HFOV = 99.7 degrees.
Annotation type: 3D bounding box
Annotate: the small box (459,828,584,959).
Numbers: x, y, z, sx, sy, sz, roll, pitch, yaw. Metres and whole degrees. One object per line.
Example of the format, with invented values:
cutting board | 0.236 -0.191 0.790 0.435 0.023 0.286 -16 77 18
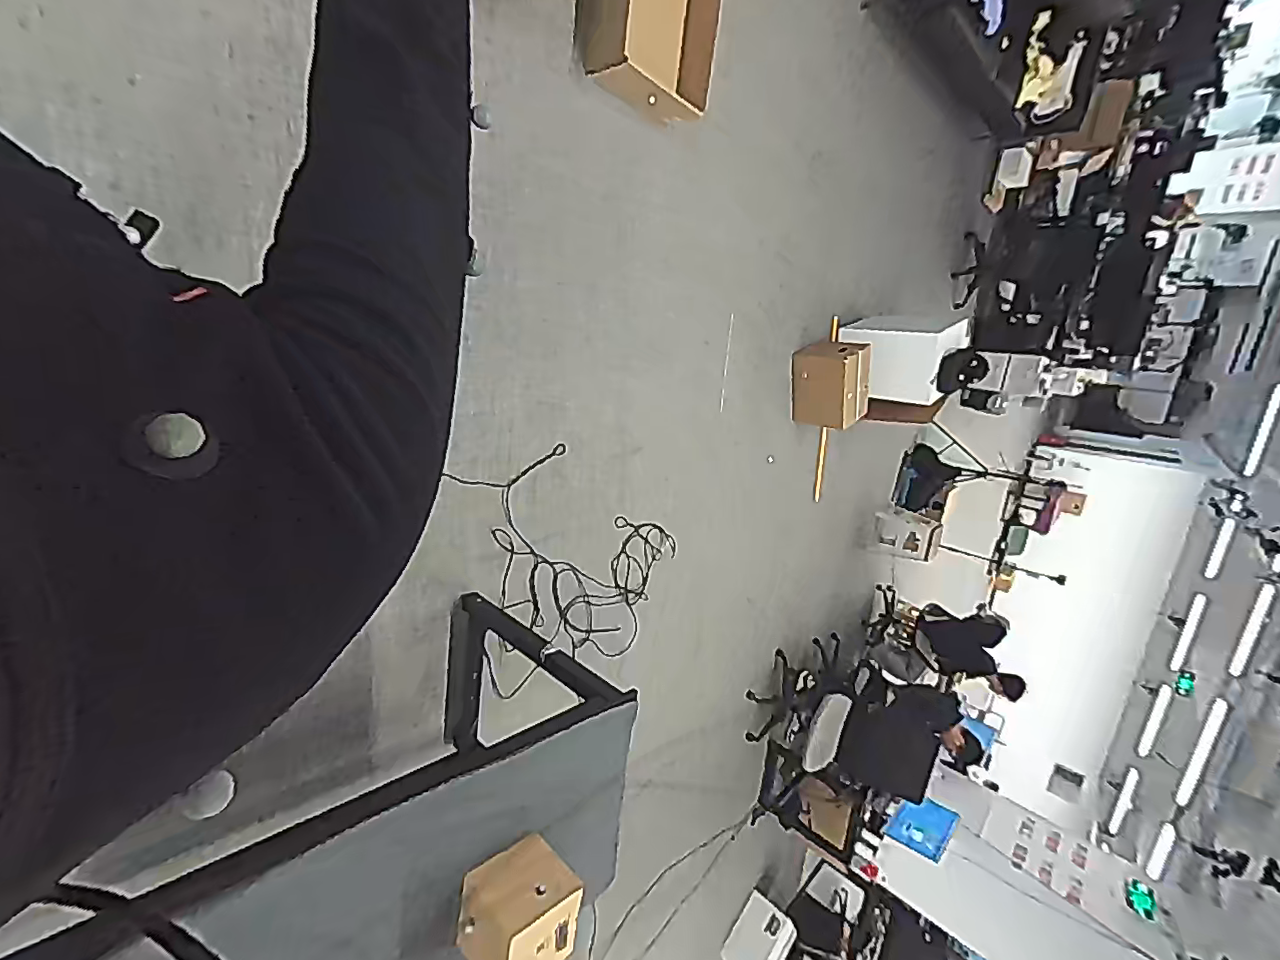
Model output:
small box | -0.242 0.862 1.103 0.179 0.176 0.168 -2 105 -48
